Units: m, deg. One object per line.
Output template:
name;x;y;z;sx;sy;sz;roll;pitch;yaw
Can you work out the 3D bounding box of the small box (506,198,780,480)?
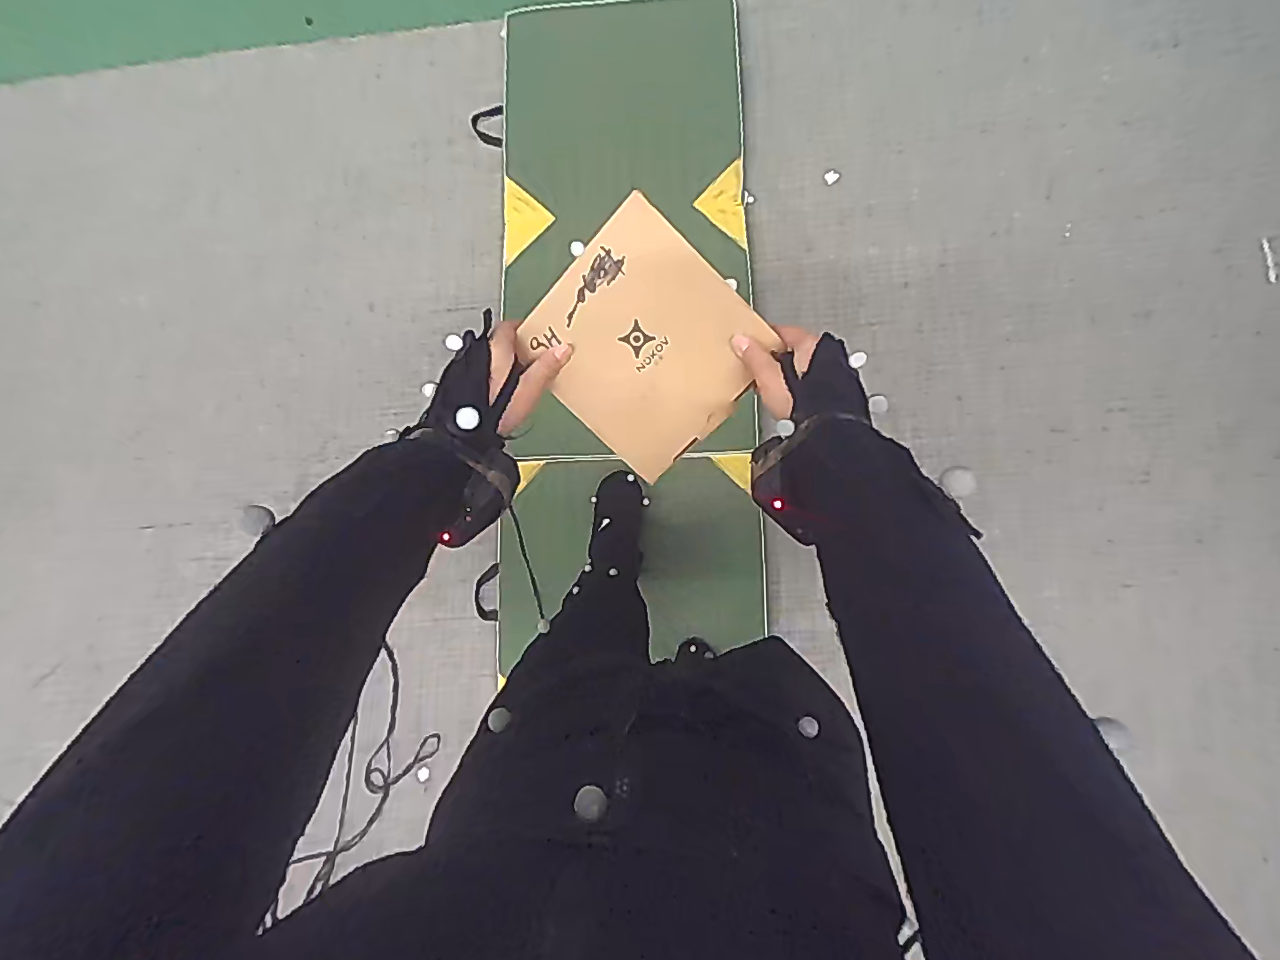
small box;0.007;-0.133;0.530;0.179;0.176;0.168;43;104;-7
